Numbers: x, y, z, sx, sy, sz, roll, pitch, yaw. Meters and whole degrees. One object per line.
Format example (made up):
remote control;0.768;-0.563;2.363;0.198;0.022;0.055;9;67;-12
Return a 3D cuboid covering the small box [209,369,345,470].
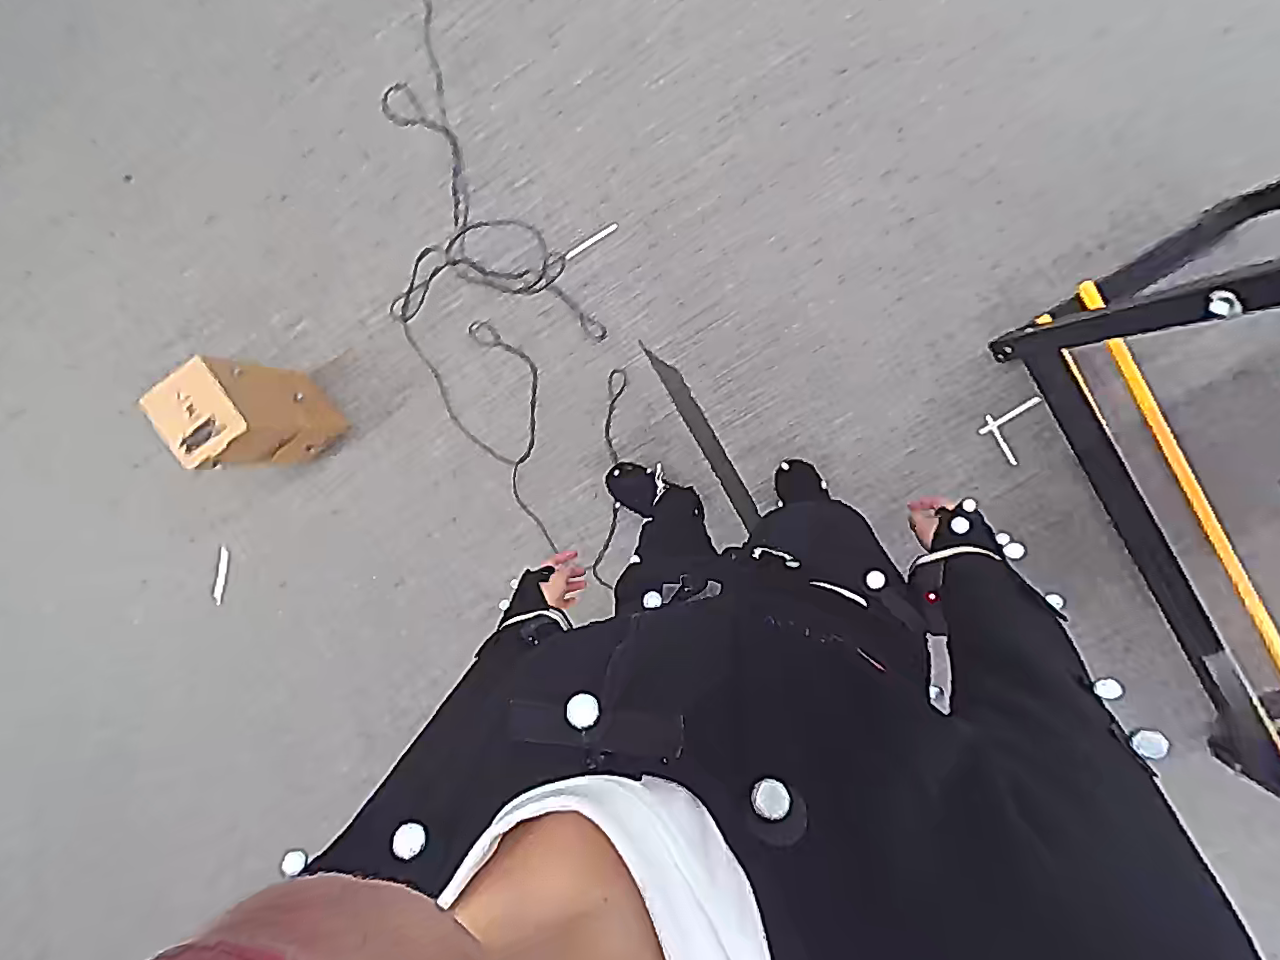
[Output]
small box;-0.870;-0.143;1.312;0.168;0.176;0.179;-37;93;7
